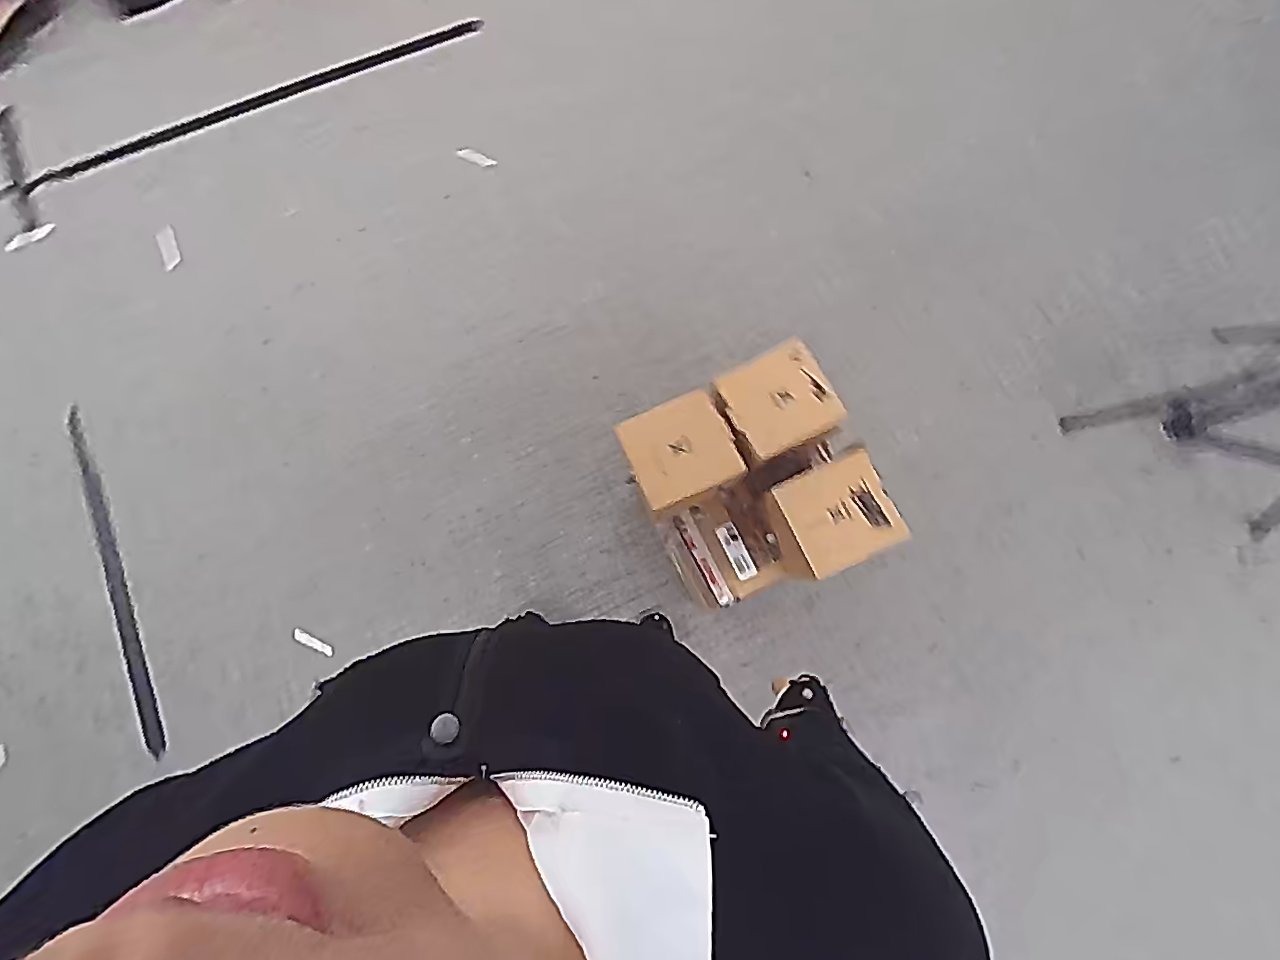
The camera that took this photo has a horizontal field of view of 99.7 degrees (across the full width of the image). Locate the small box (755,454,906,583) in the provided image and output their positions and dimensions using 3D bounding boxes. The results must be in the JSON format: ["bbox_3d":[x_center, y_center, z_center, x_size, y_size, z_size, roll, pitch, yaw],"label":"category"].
[{"bbox_3d":[0.328,0.074,0.971,0.179,0.176,0.168,-24,80,-3],"label":"small box"}]
